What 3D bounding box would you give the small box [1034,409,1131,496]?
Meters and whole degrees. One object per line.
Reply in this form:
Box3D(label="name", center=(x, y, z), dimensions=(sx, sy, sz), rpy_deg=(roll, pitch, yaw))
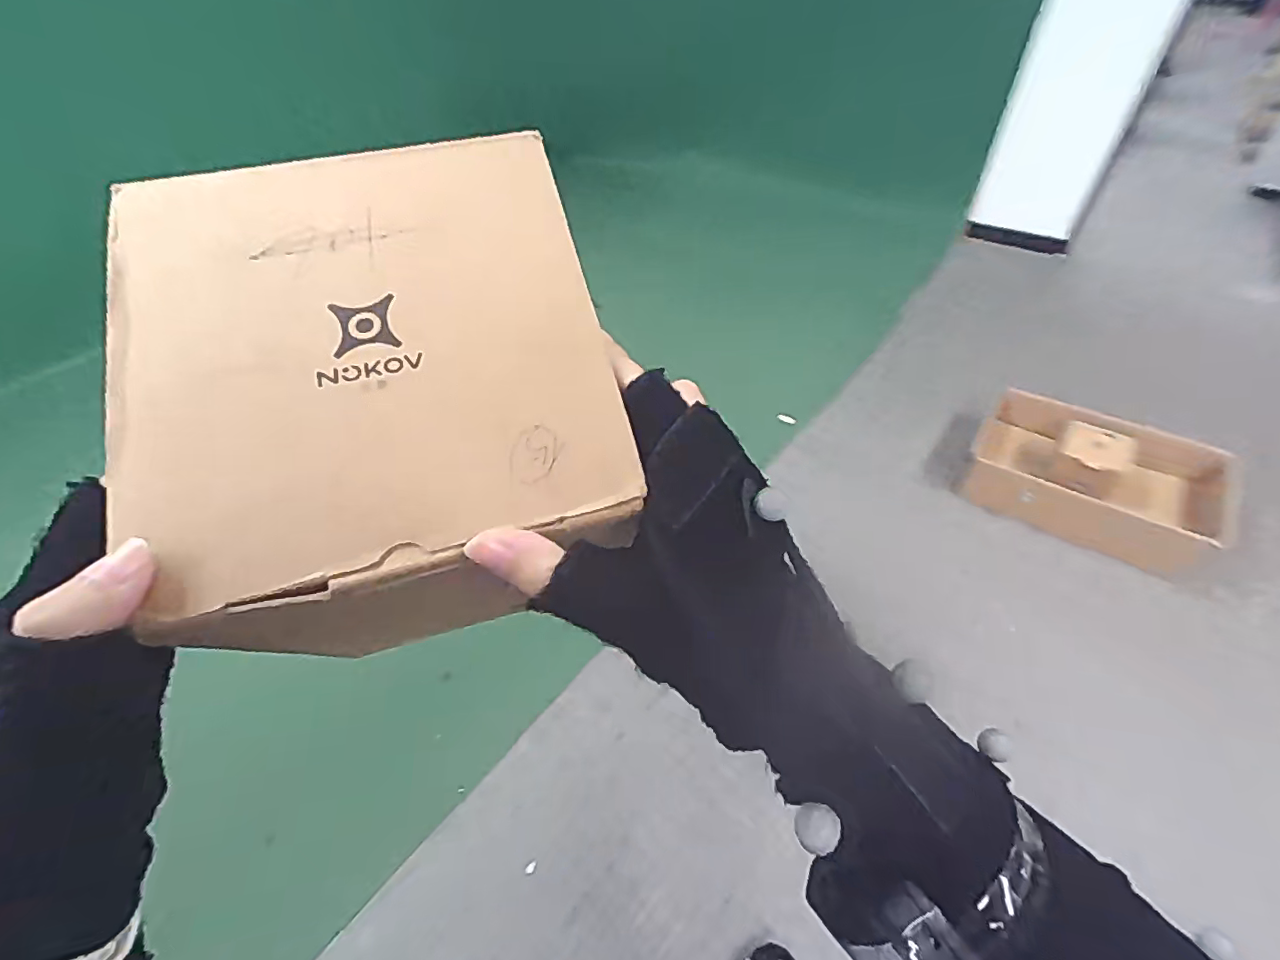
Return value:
Box3D(label="small box", center=(1.348, -0.080, 1.657), dimensions=(0.168, 0.176, 0.179), rpy_deg=(27, 57, 27))
